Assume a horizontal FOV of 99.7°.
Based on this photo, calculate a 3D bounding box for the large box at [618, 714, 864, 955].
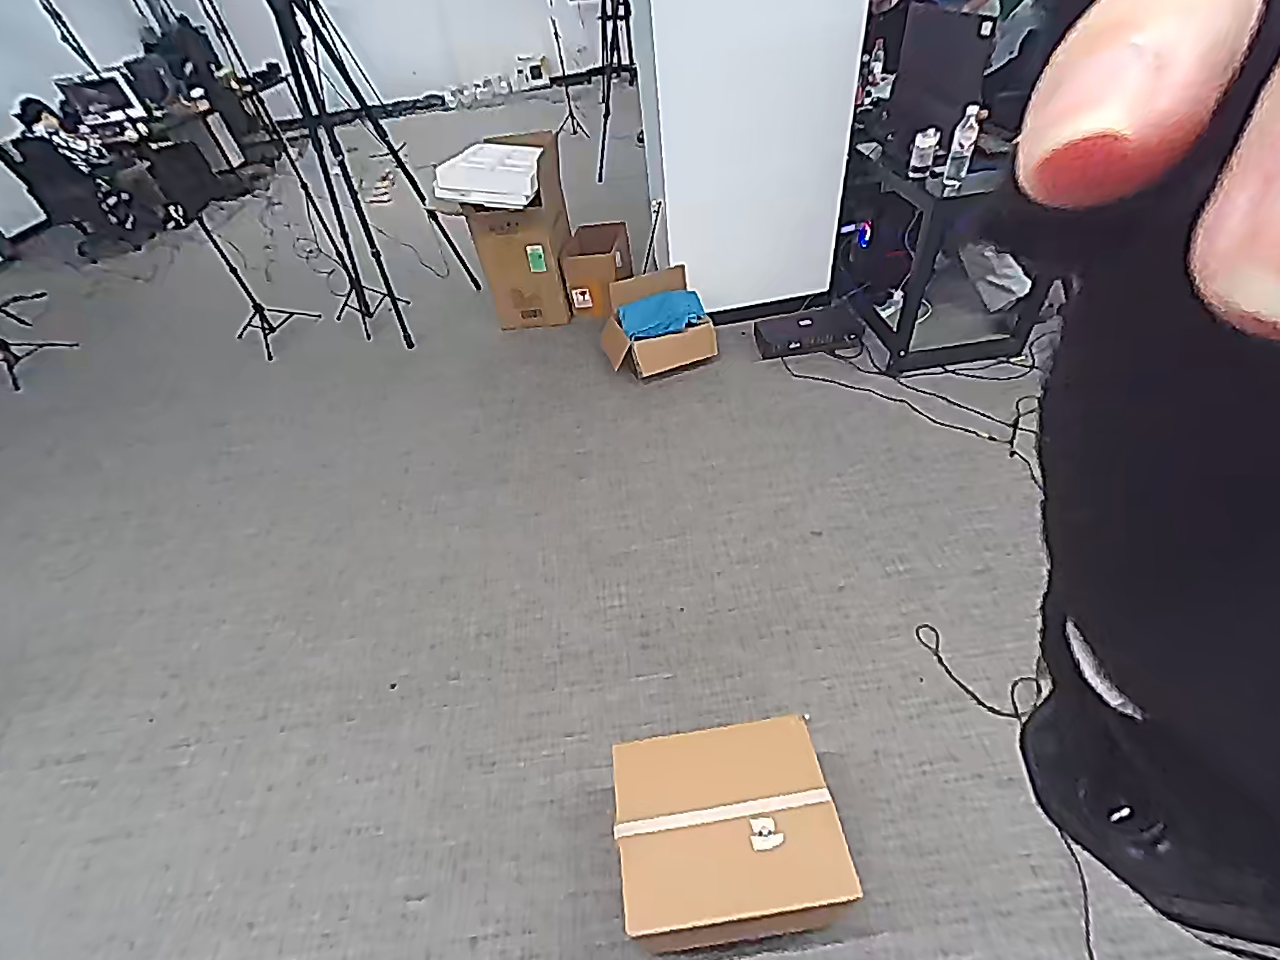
[{"bbox_3d":[0.183,0.733,1.120,0.408,0.320,0.320,-9,44,-1],"label":"large box"}]
